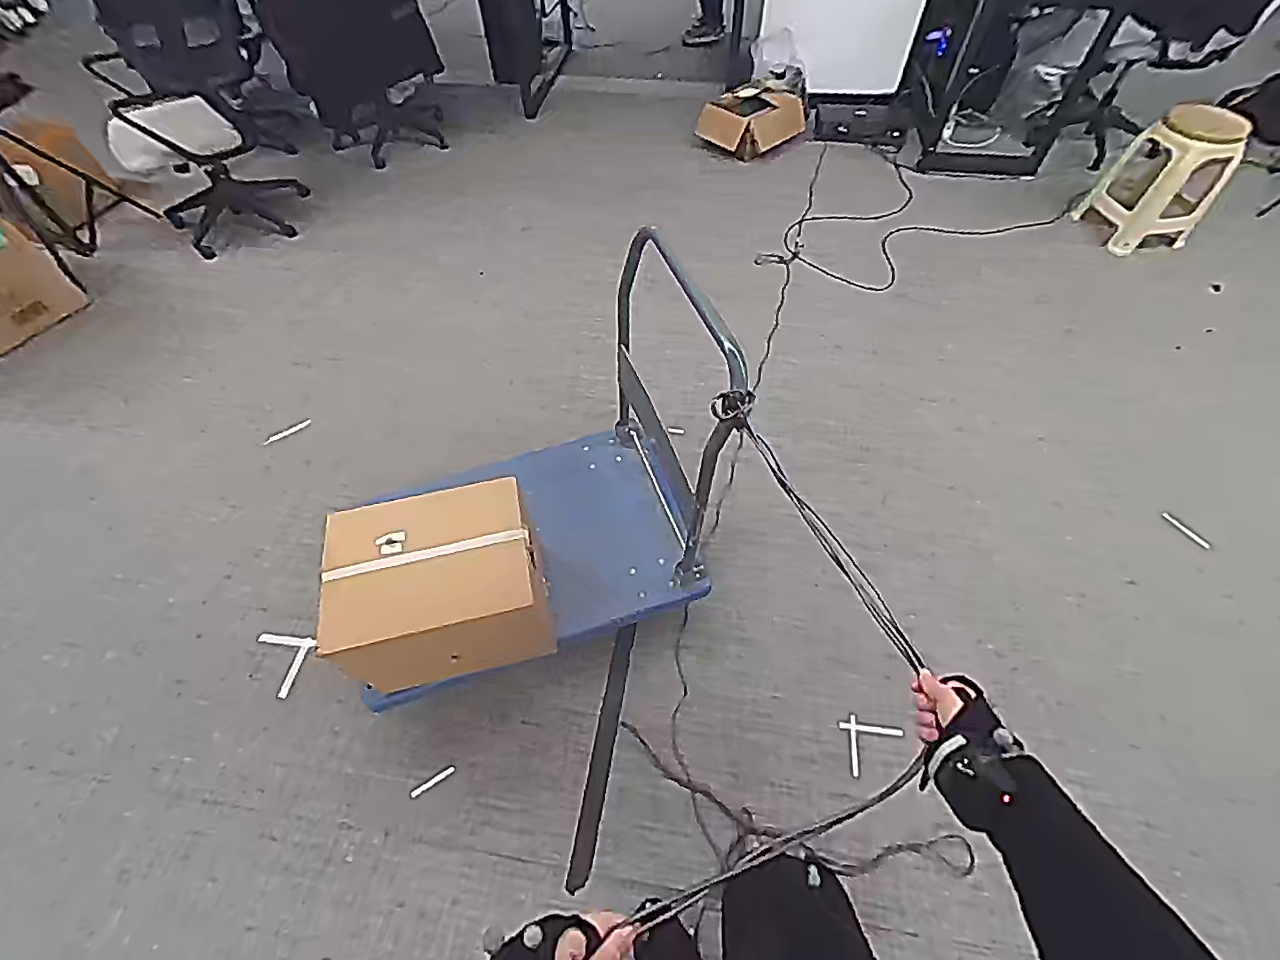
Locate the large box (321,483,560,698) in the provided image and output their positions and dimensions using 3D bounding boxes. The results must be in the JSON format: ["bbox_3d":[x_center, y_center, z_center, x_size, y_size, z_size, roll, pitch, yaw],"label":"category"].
[{"bbox_3d":[-0.421,0.253,1.209,0.408,0.320,0.320,-13,56,-6],"label":"large box"}]
